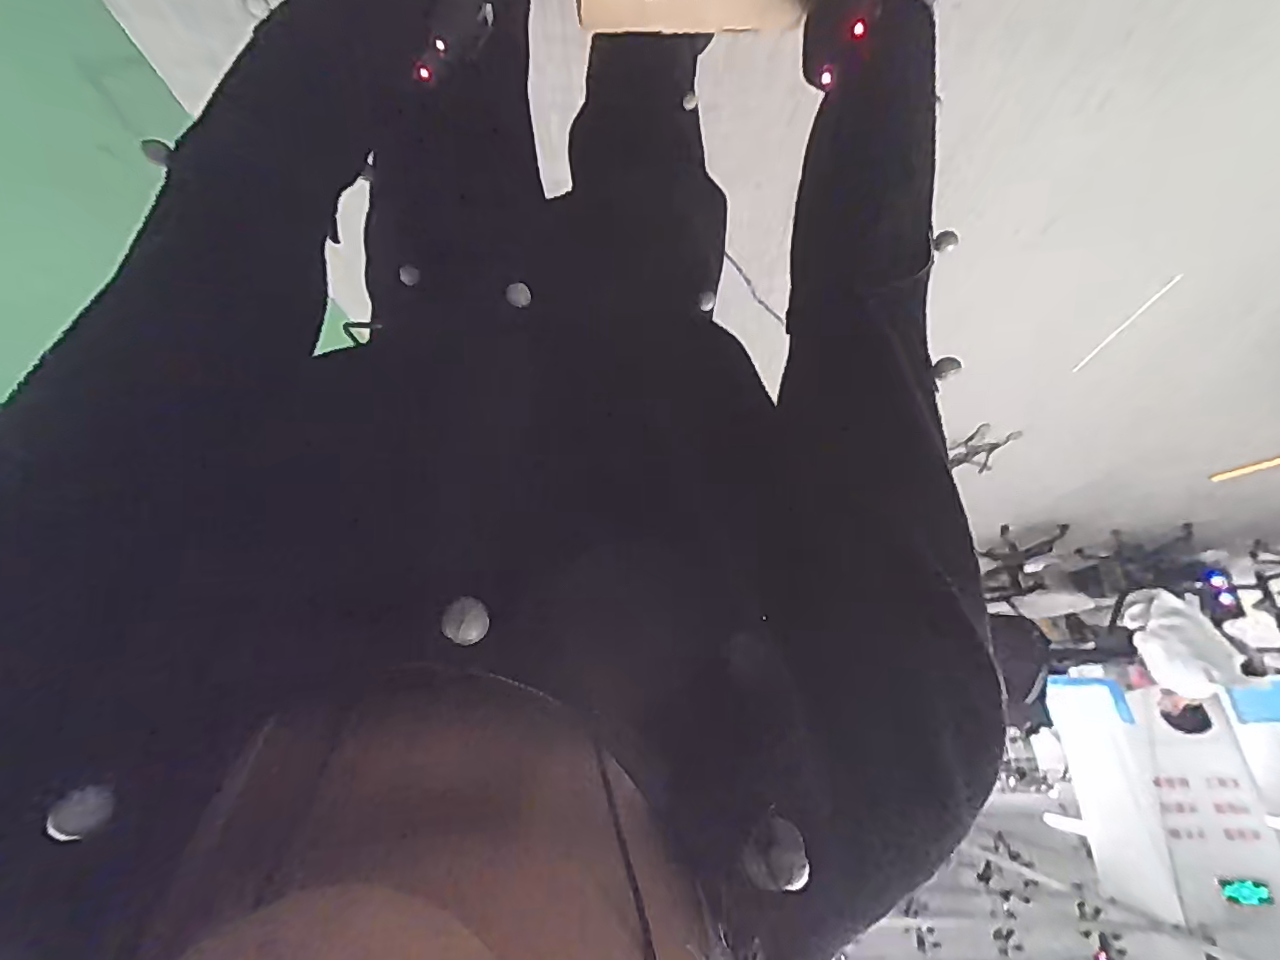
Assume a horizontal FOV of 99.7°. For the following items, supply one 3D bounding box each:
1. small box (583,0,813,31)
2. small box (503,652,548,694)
[{"bbox_3d":[0.039,-0.425,0.326,0.168,0.176,0.179,-5,169,-7],"label":"small box"},{"bbox_3d":[-0.504,0.857,2.400,0.179,0.176,0.168,1,156,-3],"label":"small box"}]
